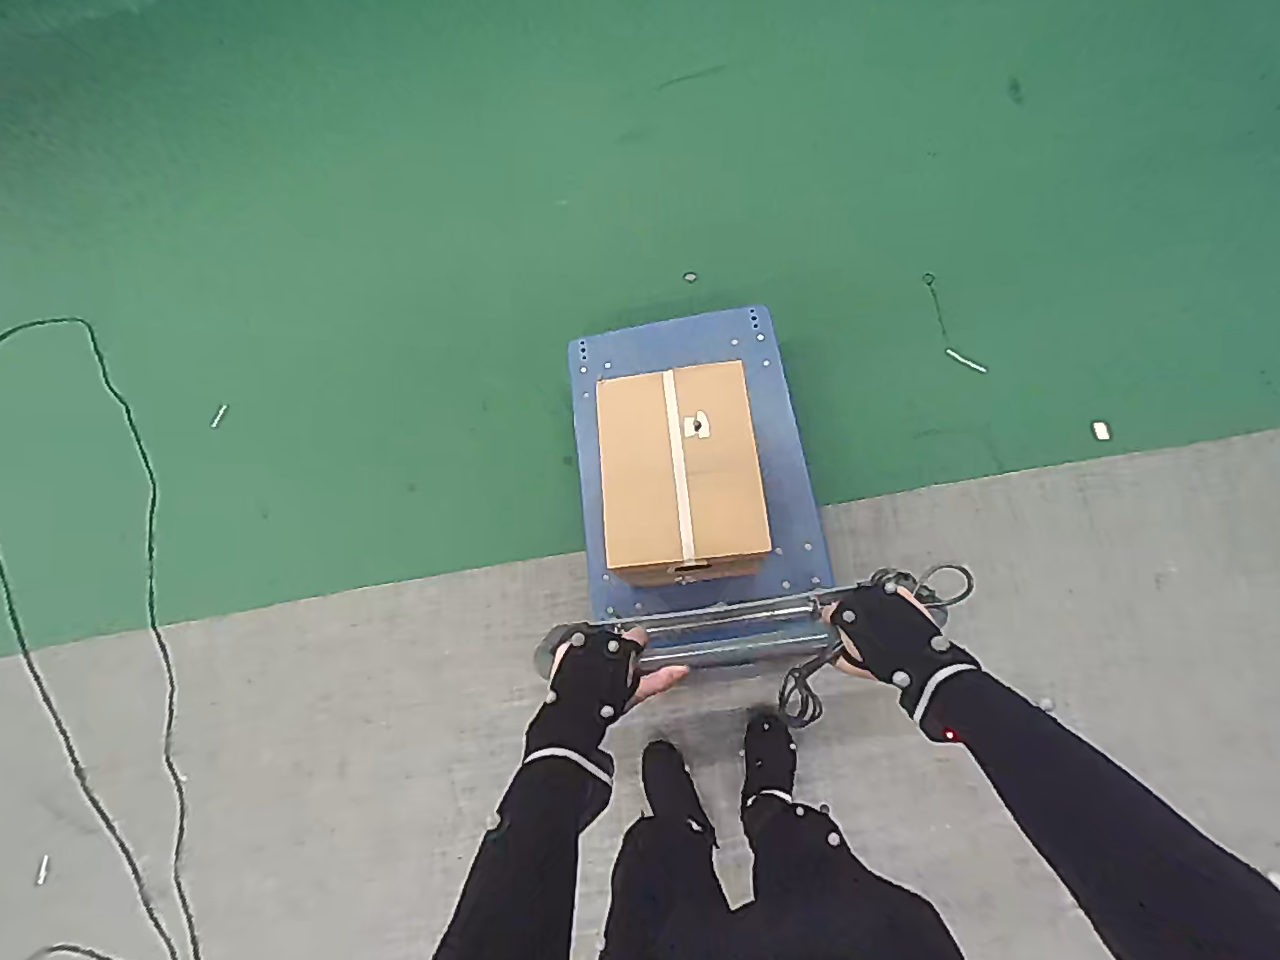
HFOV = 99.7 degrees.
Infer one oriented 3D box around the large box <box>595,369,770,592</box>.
[{"bbox_3d":[0.093,0.020,1.217,0.320,0.320,0.408,-7,71,5],"label":"large box"}]
